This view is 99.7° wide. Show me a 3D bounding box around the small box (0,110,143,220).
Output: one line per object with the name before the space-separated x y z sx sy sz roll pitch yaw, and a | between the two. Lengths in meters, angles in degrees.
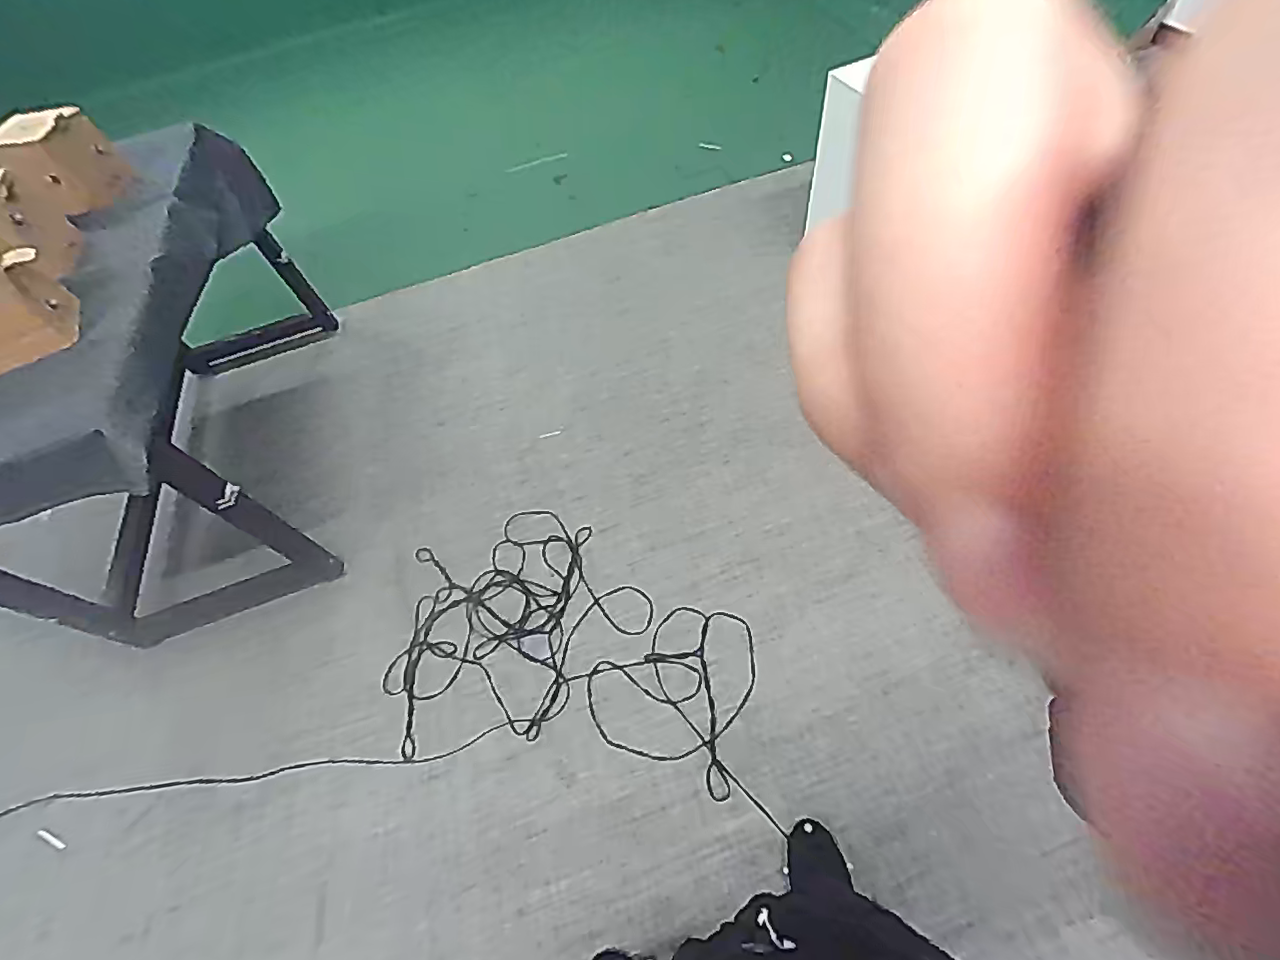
small box | -1.396 -0.766 1.324 0.179 0.176 0.168 -4 56 7

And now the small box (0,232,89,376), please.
small box | -1.203 -0.320 1.009 0.179 0.176 0.168 -29 57 -11
